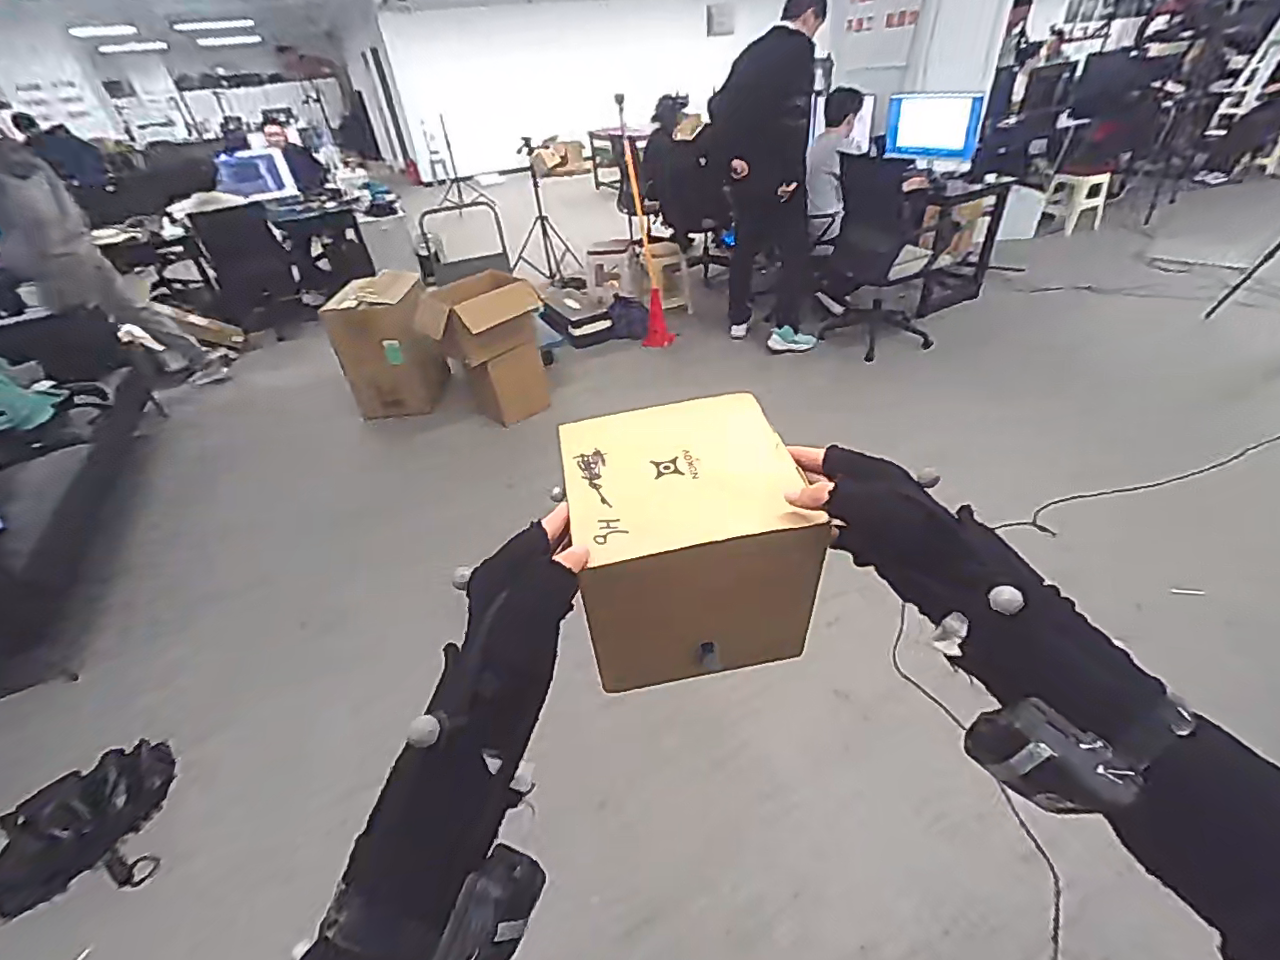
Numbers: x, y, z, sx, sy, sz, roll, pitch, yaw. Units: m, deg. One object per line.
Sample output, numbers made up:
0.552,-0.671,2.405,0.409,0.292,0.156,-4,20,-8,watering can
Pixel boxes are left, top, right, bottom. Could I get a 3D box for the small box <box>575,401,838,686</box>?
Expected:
0.043,0.054,0.472,0.179,0.176,0.168,-9,40,-5,small box
